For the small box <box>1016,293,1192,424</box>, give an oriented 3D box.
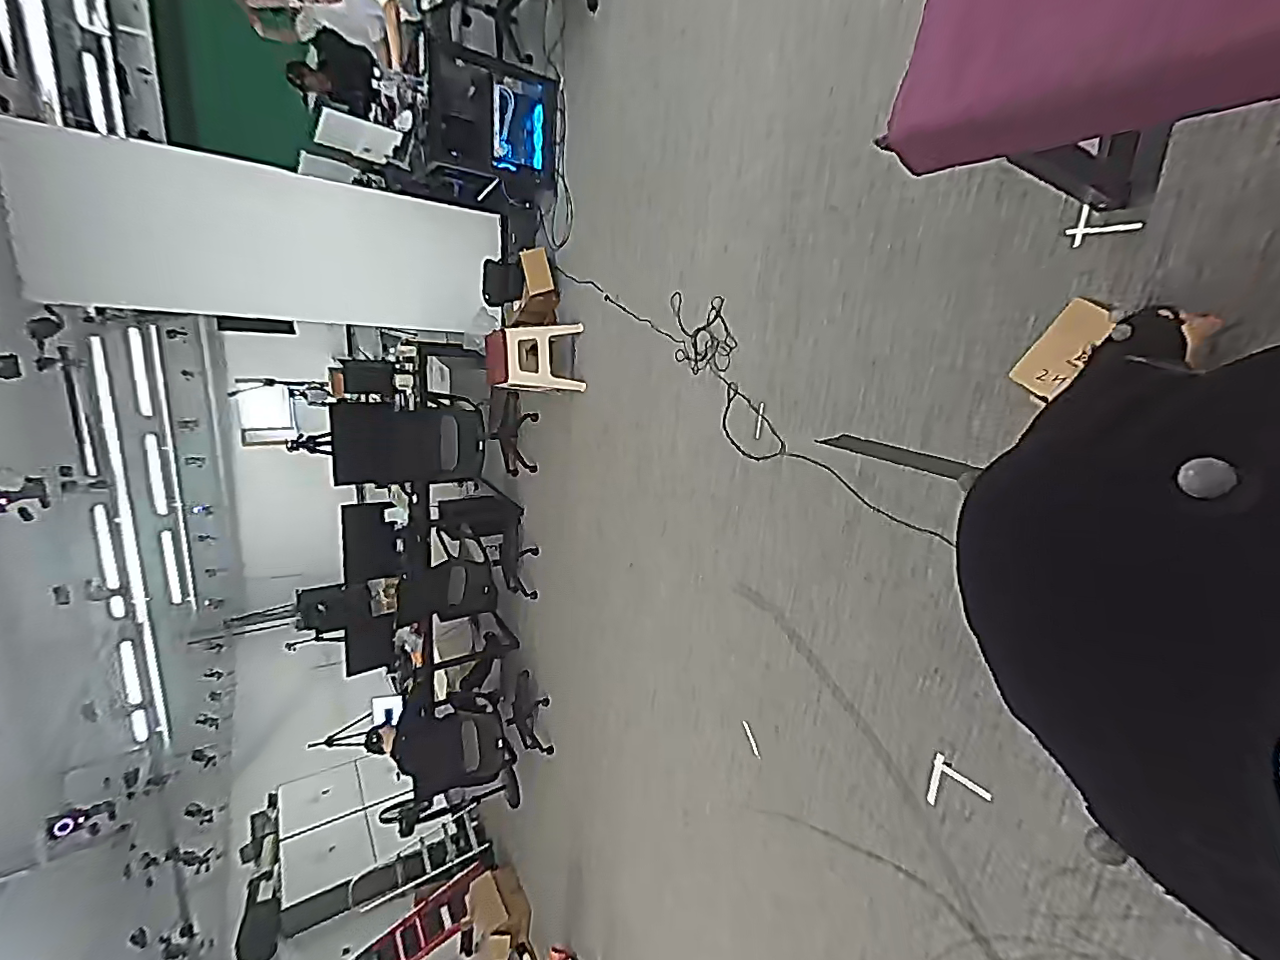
[{"bbox_3d":[0.867,-0.226,1.011,0.168,0.176,0.179,56,139,35],"label":"small box"}]
